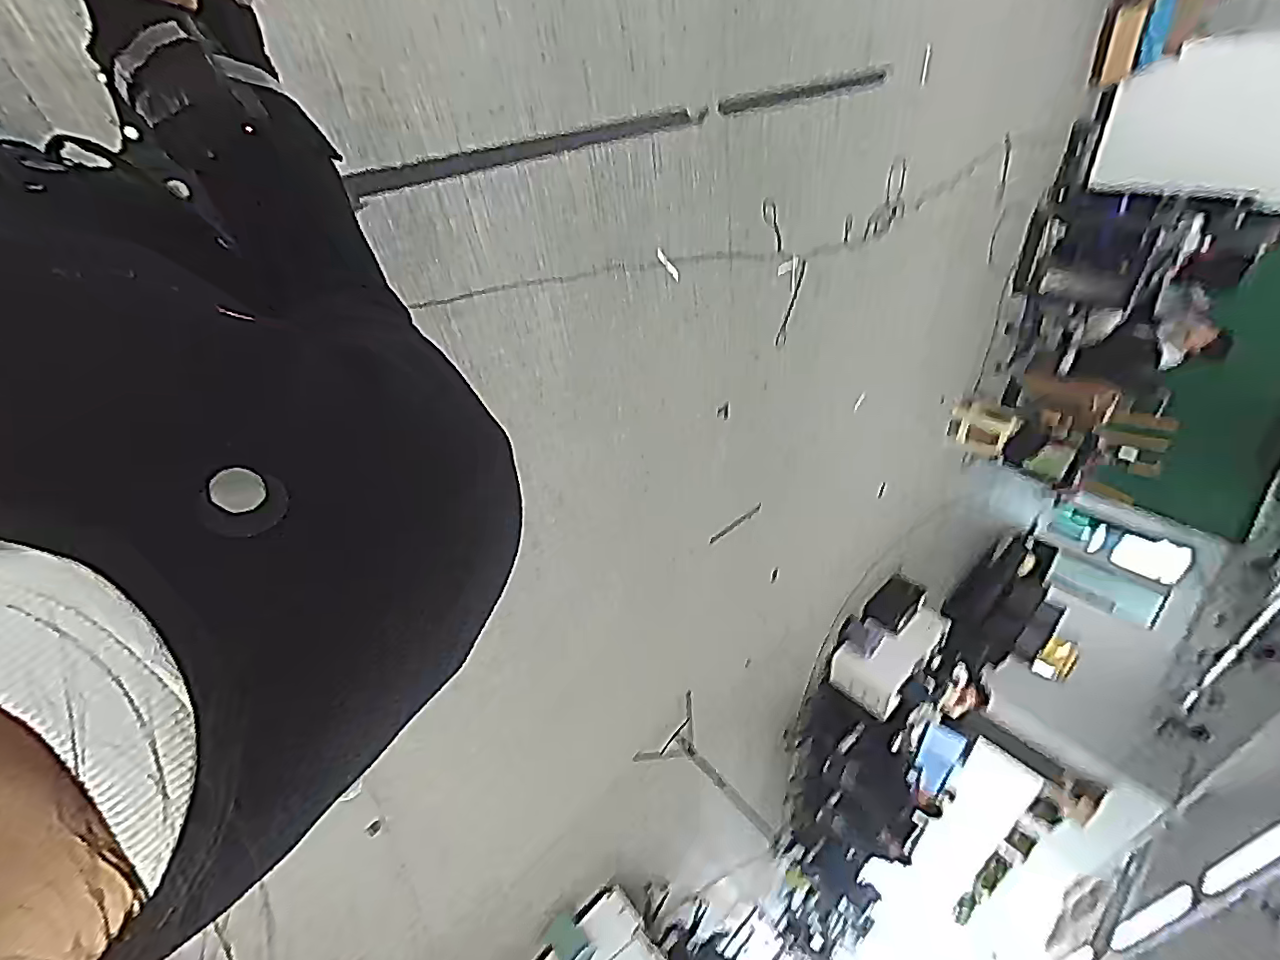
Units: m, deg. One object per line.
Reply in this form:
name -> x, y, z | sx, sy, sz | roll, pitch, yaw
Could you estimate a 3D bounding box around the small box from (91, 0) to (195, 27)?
small box -> -0.258, -0.285, 0.165 | 0.176, 0.168, 0.179 | -7, 122, -35
